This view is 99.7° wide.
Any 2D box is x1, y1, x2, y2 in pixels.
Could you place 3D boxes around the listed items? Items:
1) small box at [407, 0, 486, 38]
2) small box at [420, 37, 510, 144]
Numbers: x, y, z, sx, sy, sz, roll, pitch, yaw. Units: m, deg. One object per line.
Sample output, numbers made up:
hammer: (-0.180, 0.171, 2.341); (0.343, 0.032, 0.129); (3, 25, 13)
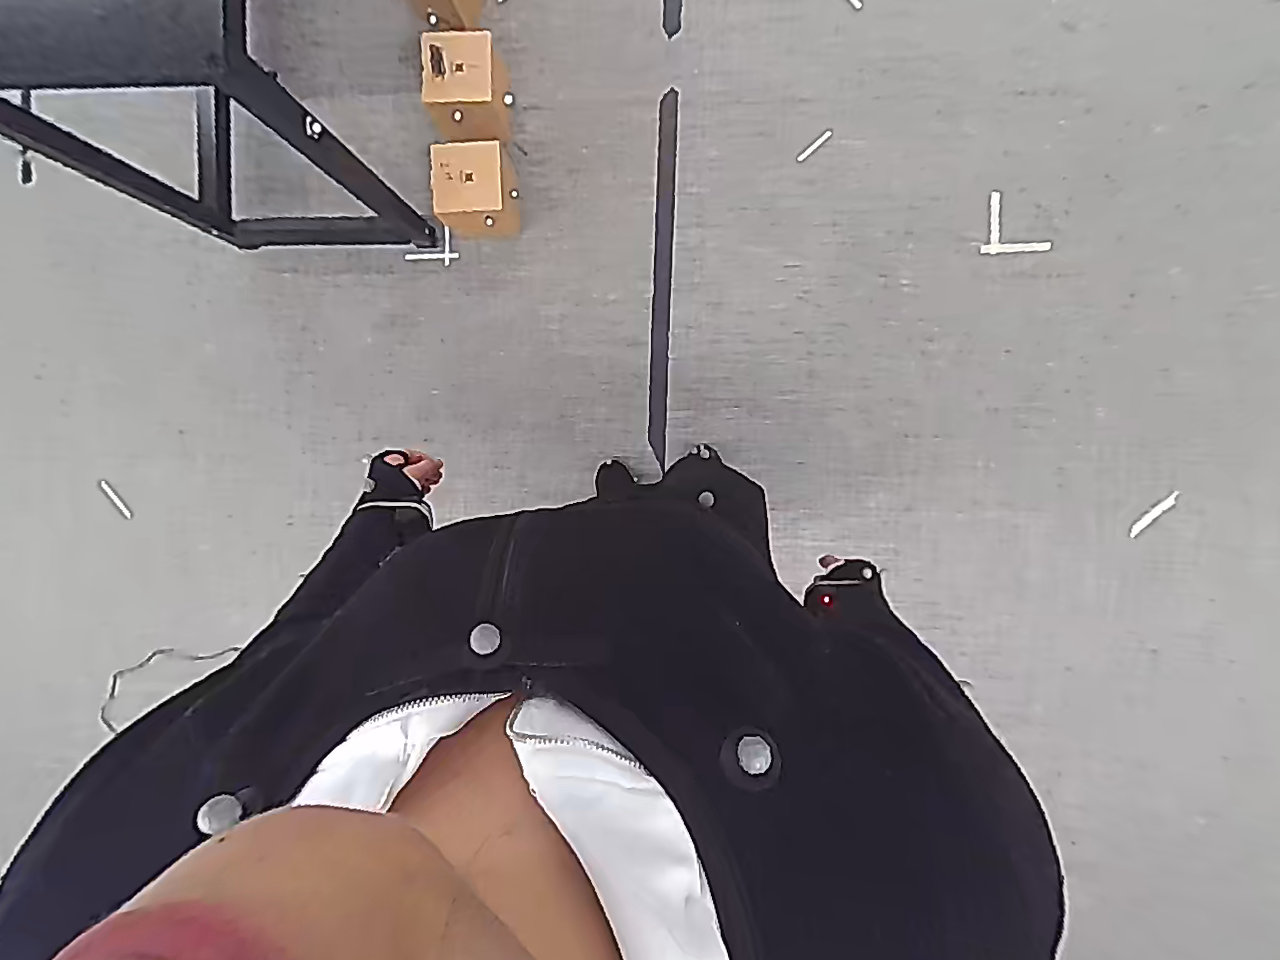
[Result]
small box: (-0.506, -1.292, 1.386); (0.168, 0.176, 0.179); (22, 95, 3)
small box: (-0.447, -0.997, 1.397); (0.179, 0.176, 0.168); (0, 93, 2)
